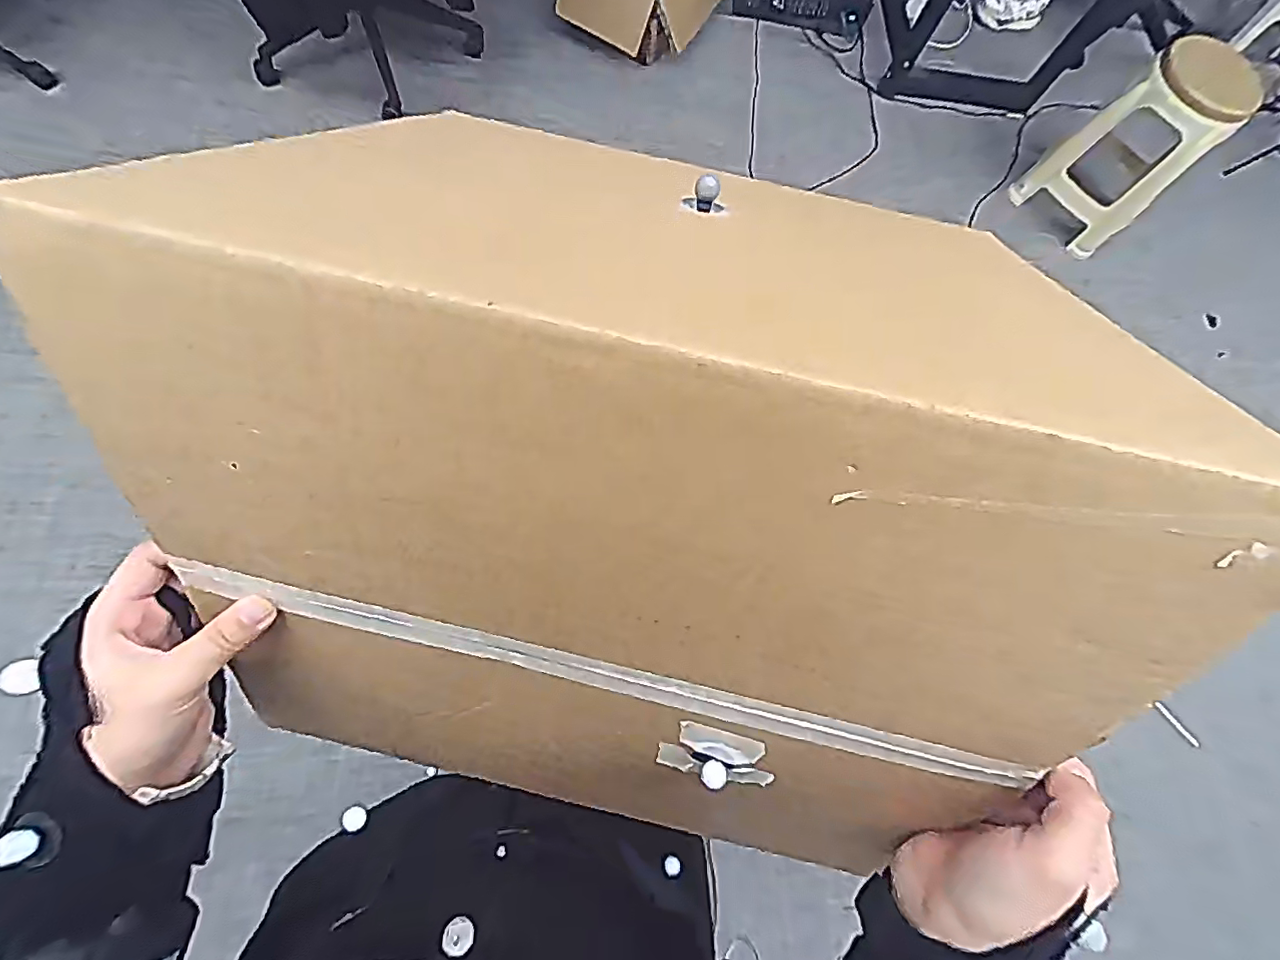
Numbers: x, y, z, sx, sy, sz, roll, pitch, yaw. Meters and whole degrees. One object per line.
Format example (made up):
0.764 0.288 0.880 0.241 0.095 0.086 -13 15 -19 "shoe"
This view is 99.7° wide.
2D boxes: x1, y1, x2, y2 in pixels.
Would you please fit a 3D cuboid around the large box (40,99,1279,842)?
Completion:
0.019 -0.031 0.354 0.408 0.320 0.320 12 39 1 "large box"
